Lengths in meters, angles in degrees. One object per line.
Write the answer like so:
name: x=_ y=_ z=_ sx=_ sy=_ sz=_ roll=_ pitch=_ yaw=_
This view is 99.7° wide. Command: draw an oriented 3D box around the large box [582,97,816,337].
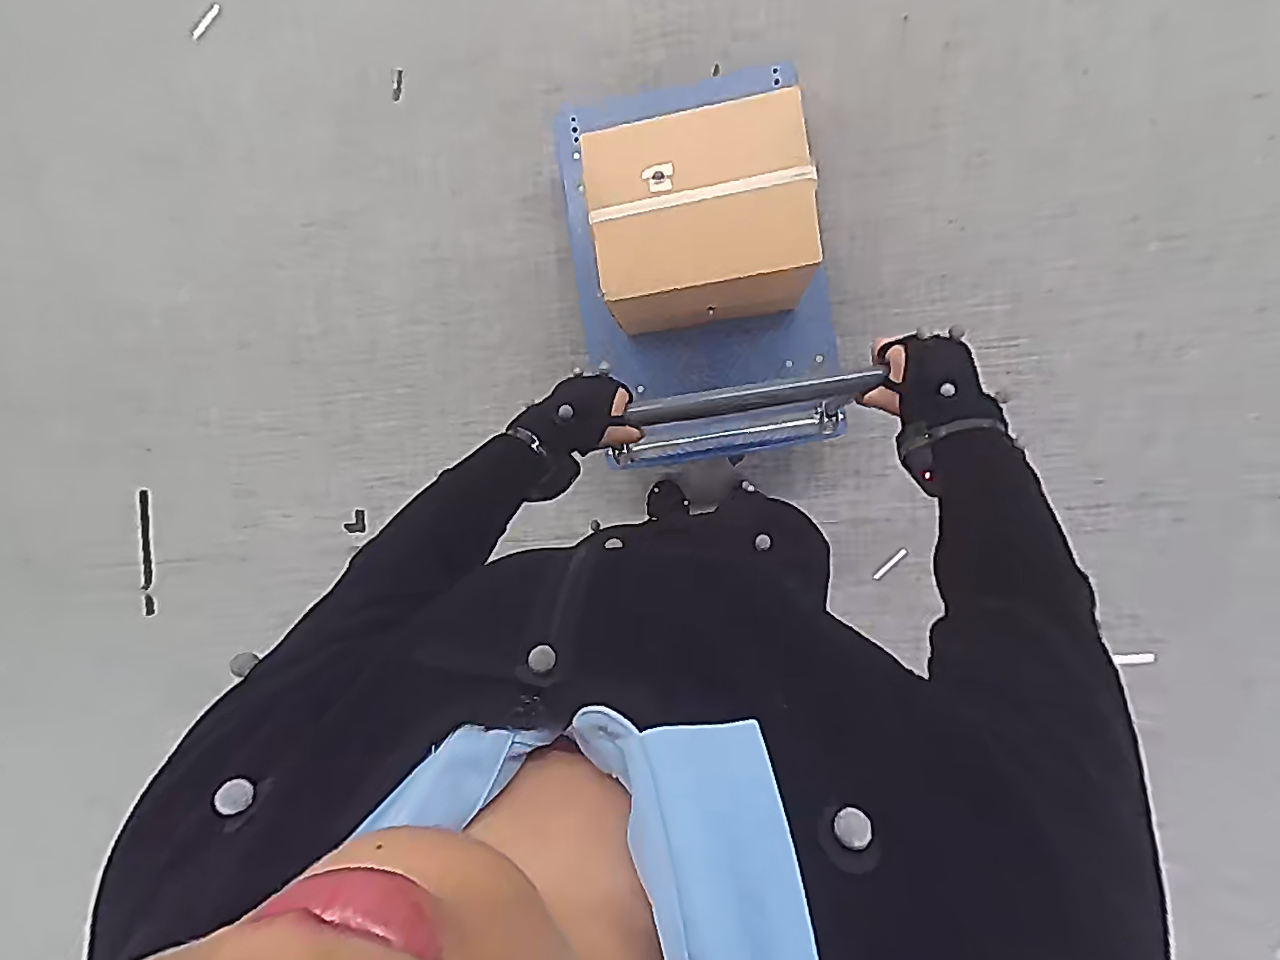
large box: x=0.127 y=-0.519 z=1.151 sx=0.408 sy=0.320 sz=0.320 roll=-8 pitch=91 yaw=8
